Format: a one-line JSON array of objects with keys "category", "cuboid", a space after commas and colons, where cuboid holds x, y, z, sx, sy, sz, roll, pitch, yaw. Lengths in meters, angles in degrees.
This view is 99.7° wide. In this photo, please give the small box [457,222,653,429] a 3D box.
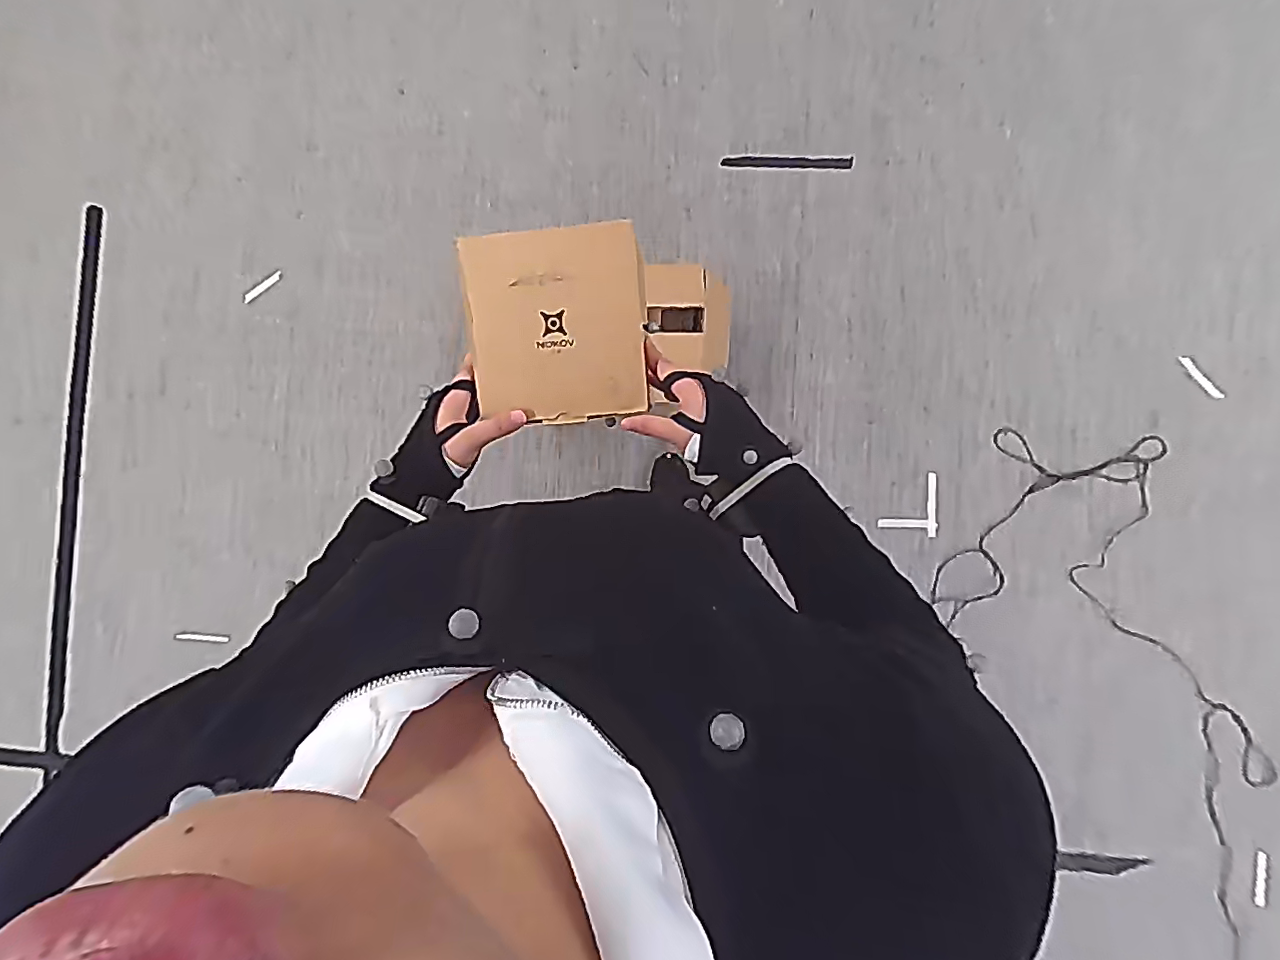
[{"category": "small box", "cuboid": [-0.074, -0.155, 0.576, 0.168, 0.176, 0.179, -5, 101, 3]}]
